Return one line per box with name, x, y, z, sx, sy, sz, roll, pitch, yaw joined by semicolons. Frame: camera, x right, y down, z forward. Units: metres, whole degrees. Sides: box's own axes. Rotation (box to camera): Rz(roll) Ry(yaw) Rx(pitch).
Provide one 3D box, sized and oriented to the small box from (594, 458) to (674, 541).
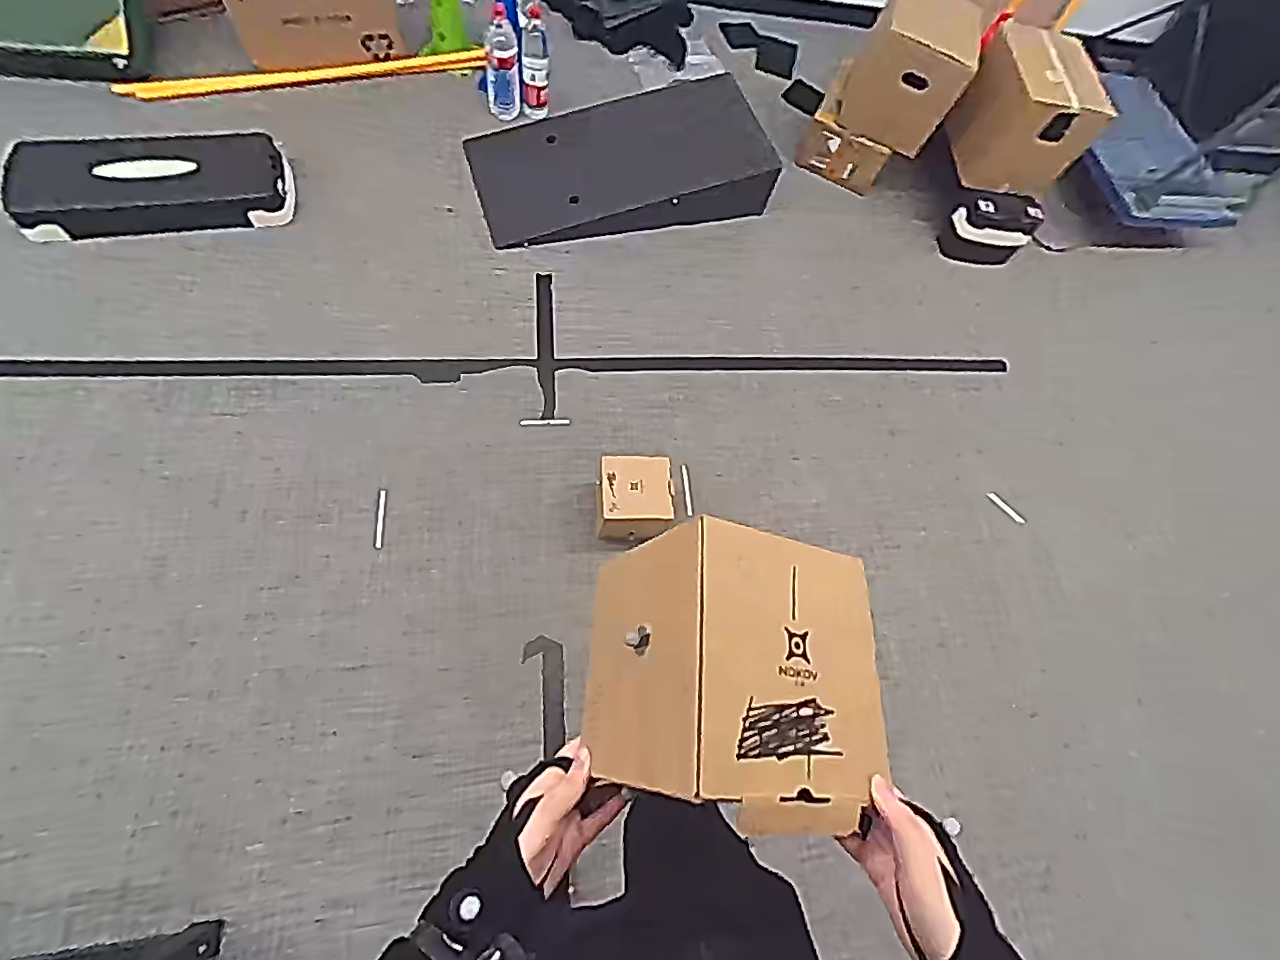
small box;-0.020;0.056;1.387;0.179;0.176;0.168;2;67;-11
